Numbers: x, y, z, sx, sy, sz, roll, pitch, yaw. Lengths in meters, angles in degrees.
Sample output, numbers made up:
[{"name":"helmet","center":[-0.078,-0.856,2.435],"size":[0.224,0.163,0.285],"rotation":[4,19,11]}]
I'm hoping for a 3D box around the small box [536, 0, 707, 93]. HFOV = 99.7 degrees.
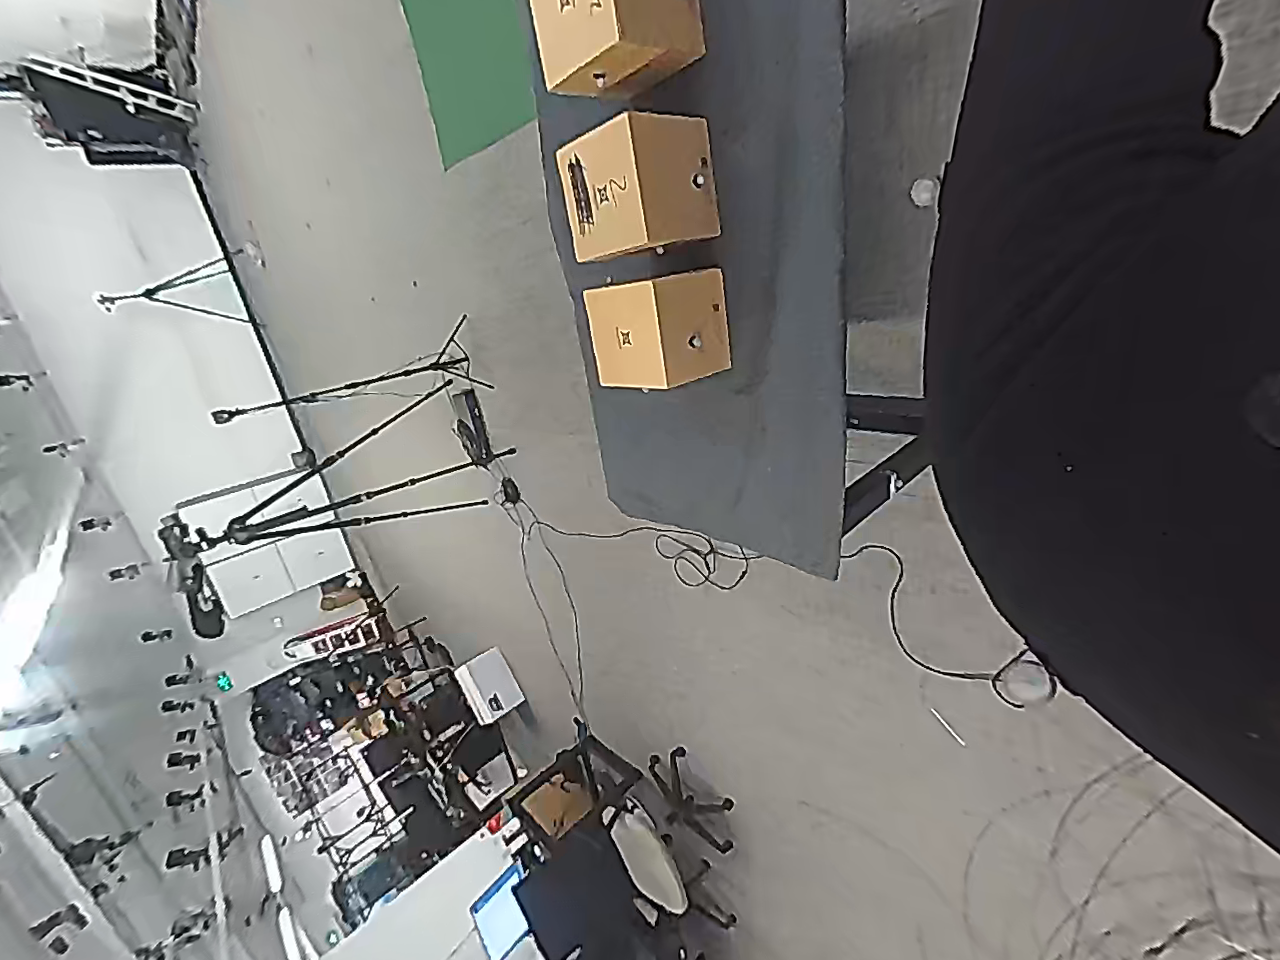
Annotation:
[{"name":"small box","center":[-0.030,-0.679,0.771],"size":[0.179,0.176,0.168],"rotation":[12,120,47]}]
